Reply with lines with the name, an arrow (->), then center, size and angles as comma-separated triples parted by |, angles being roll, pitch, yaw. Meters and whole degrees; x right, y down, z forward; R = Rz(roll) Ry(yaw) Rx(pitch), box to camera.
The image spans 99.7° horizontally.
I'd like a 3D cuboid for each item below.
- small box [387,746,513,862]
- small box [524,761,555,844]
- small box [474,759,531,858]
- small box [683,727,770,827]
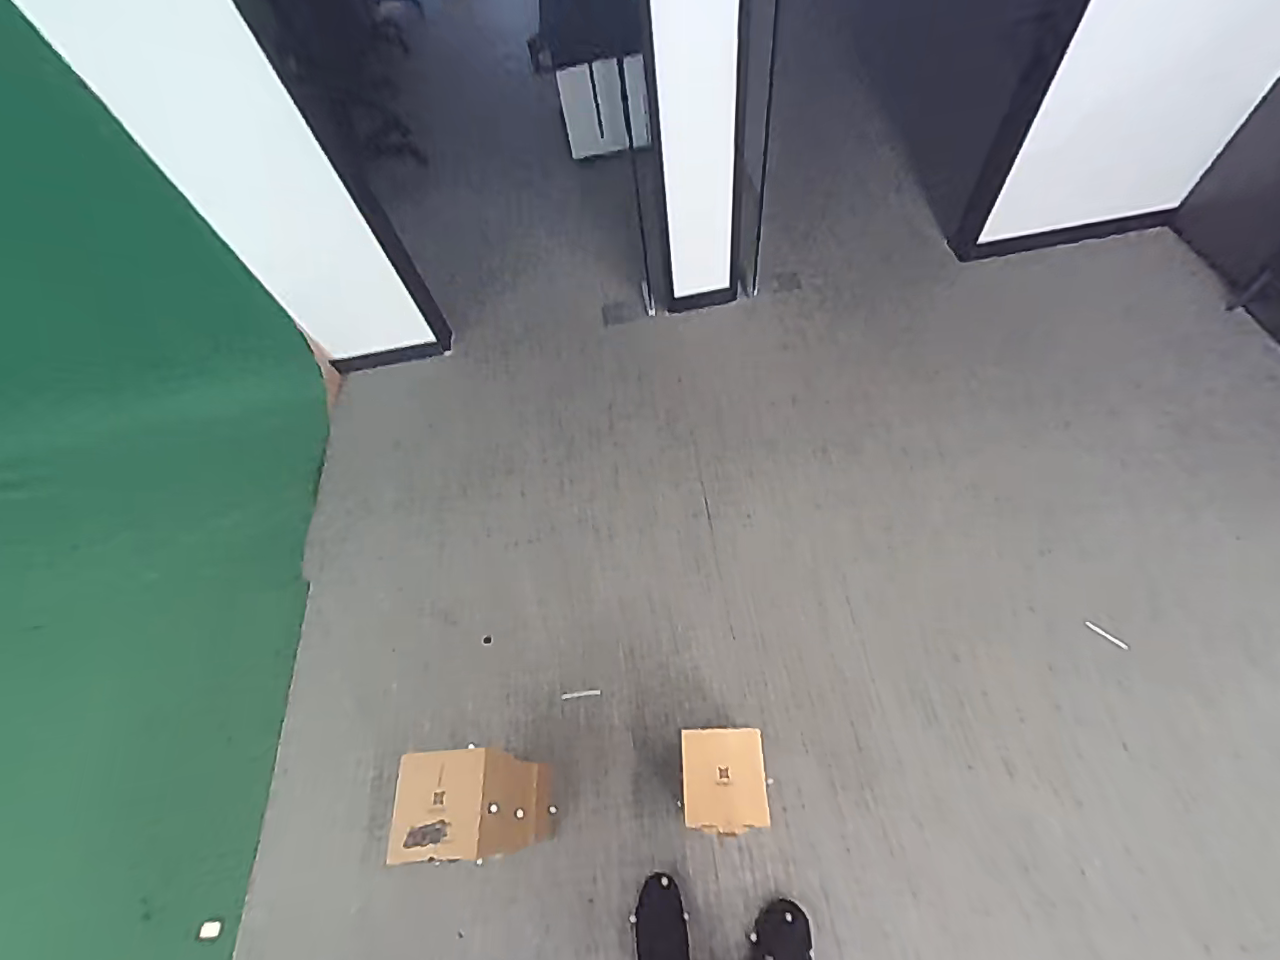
small box -> -0.352, 0.616, 1.039 | 0.168, 0.176, 0.179 | -6, 59, 4
small box -> -0.319, 0.785, 1.318 | 0.179, 0.176, 0.168 | -4, 60, 5
small box -> -0.342, 0.707, 1.176 | 0.168, 0.176, 0.179 | -5, 61, 5
small box -> 0.176, 0.633, 1.151 | 0.168, 0.176, 0.179 | -3, 60, 5
